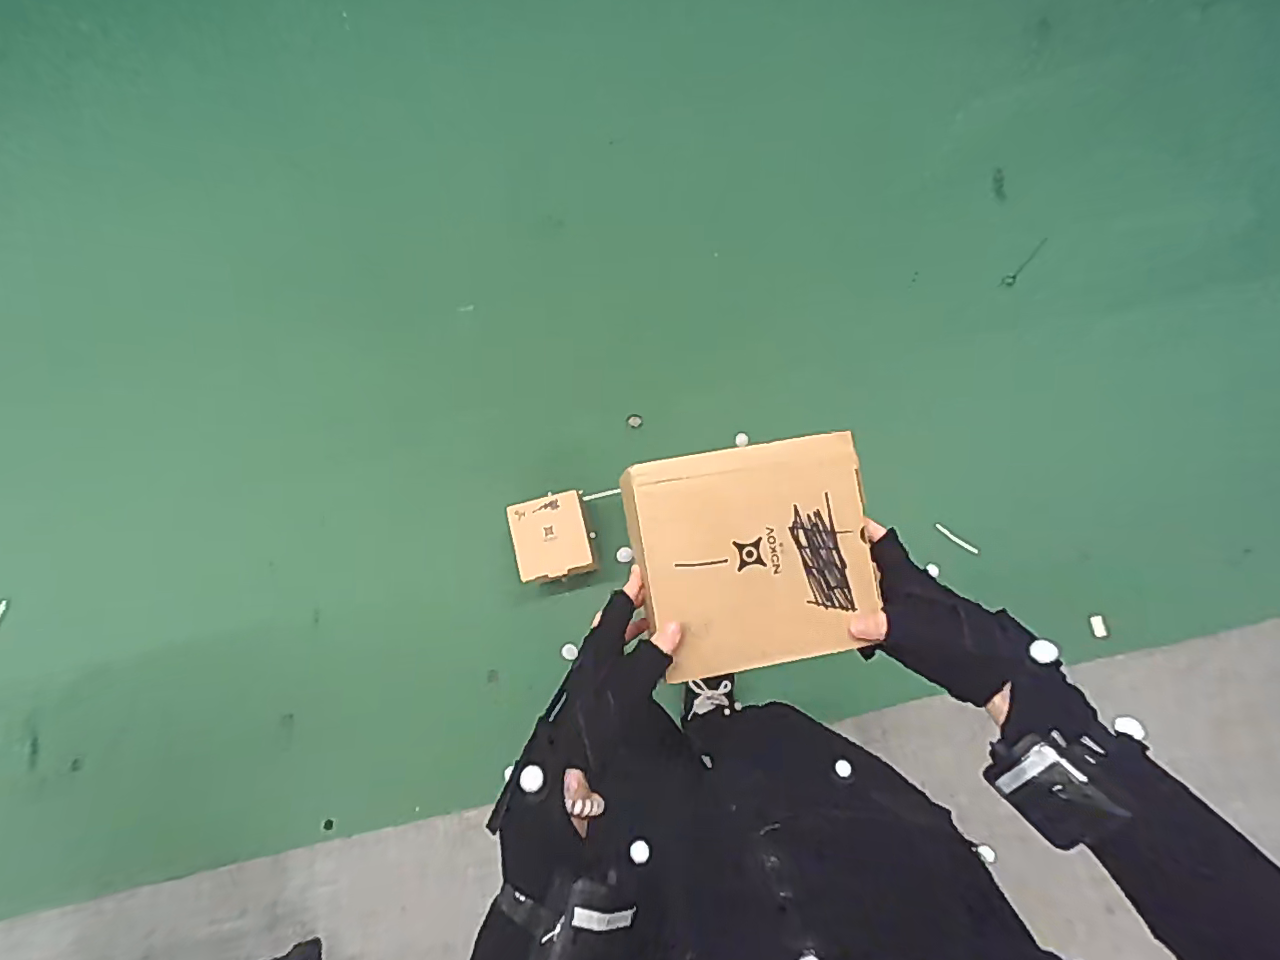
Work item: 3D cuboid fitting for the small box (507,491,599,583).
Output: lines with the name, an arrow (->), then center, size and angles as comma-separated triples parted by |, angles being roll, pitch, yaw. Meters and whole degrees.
small box -> -0.199, 0.137, 1.278 | 0.168, 0.176, 0.179 | -14, 80, -1

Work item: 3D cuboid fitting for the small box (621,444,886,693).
small box -> 0.083, 0.066, 0.481 | 0.179, 0.176, 0.168 | -9, 88, -4
